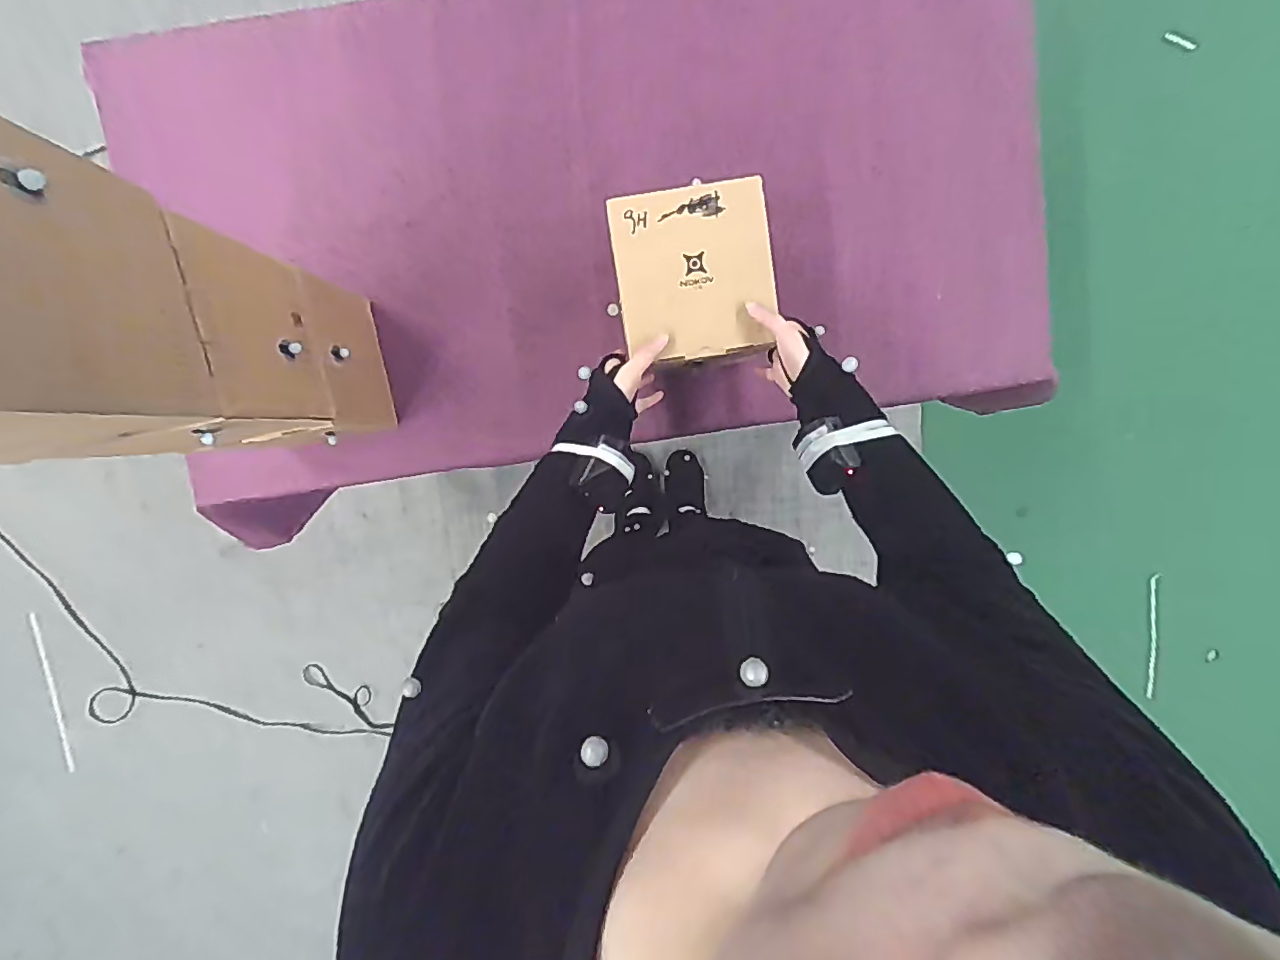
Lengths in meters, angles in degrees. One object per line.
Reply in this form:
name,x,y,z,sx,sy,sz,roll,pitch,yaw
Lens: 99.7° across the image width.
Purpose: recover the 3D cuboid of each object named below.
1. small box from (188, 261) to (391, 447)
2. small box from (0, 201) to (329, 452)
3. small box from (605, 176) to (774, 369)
small box,-0.428,-0.142,0.655,0.168,0.176,0.179,-10,96,-1
small box,-0.429,-0.123,0.494,0.179,0.176,0.168,-12,97,-1
small box,0.054,-0.232,0.652,0.168,0.176,0.179,-8,98,0
